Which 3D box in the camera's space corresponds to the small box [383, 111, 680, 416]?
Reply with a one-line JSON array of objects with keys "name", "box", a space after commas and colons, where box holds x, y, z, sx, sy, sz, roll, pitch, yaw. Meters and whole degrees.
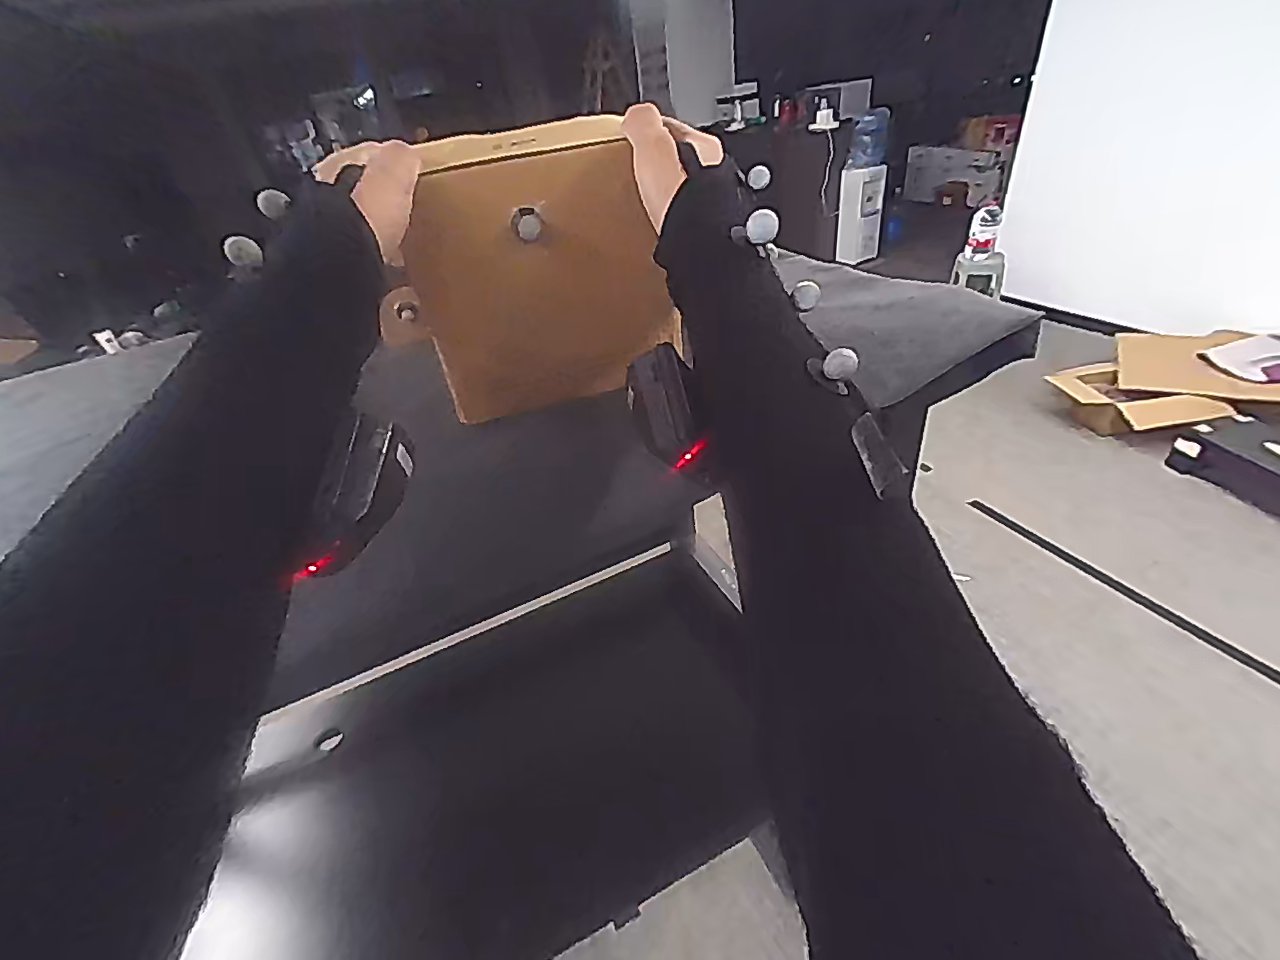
[{"name": "small box", "box": [-0.072, -0.174, 0.426, 0.179, 0.176, 0.168, -15, 38, -7]}]

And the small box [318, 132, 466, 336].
[{"name": "small box", "box": [-0.229, -0.276, 0.607, 0.168, 0.176, 0.179, -19, 36, -13]}]
